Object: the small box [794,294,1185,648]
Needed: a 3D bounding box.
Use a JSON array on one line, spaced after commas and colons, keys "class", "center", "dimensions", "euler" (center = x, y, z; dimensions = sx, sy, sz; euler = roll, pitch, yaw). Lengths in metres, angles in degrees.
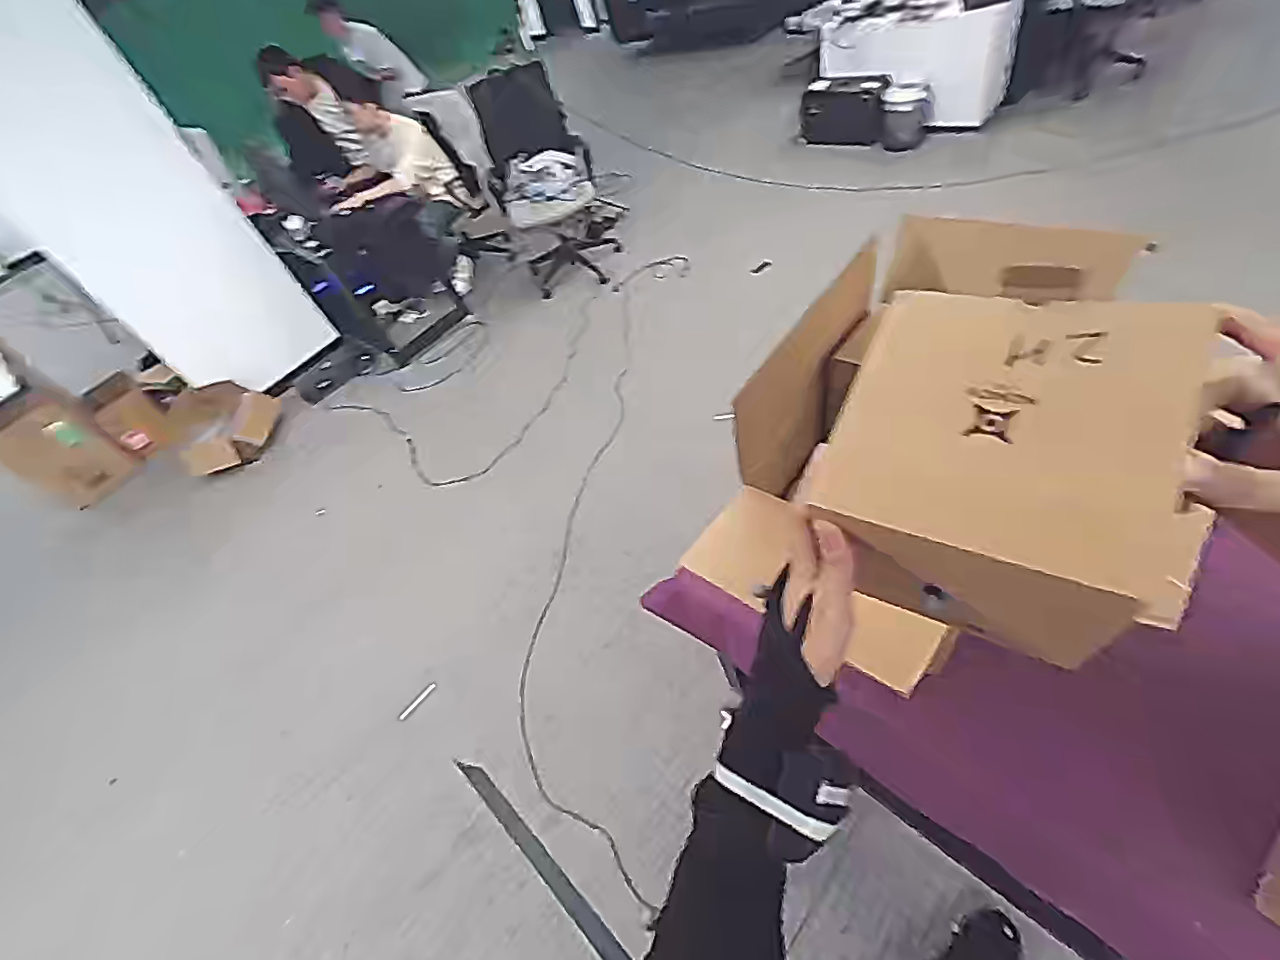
[{"class": "small box", "center": [0.233, -0.003, 0.384], "dimensions": [0.168, 0.176, 0.179], "euler": [17, 71, 34]}]
